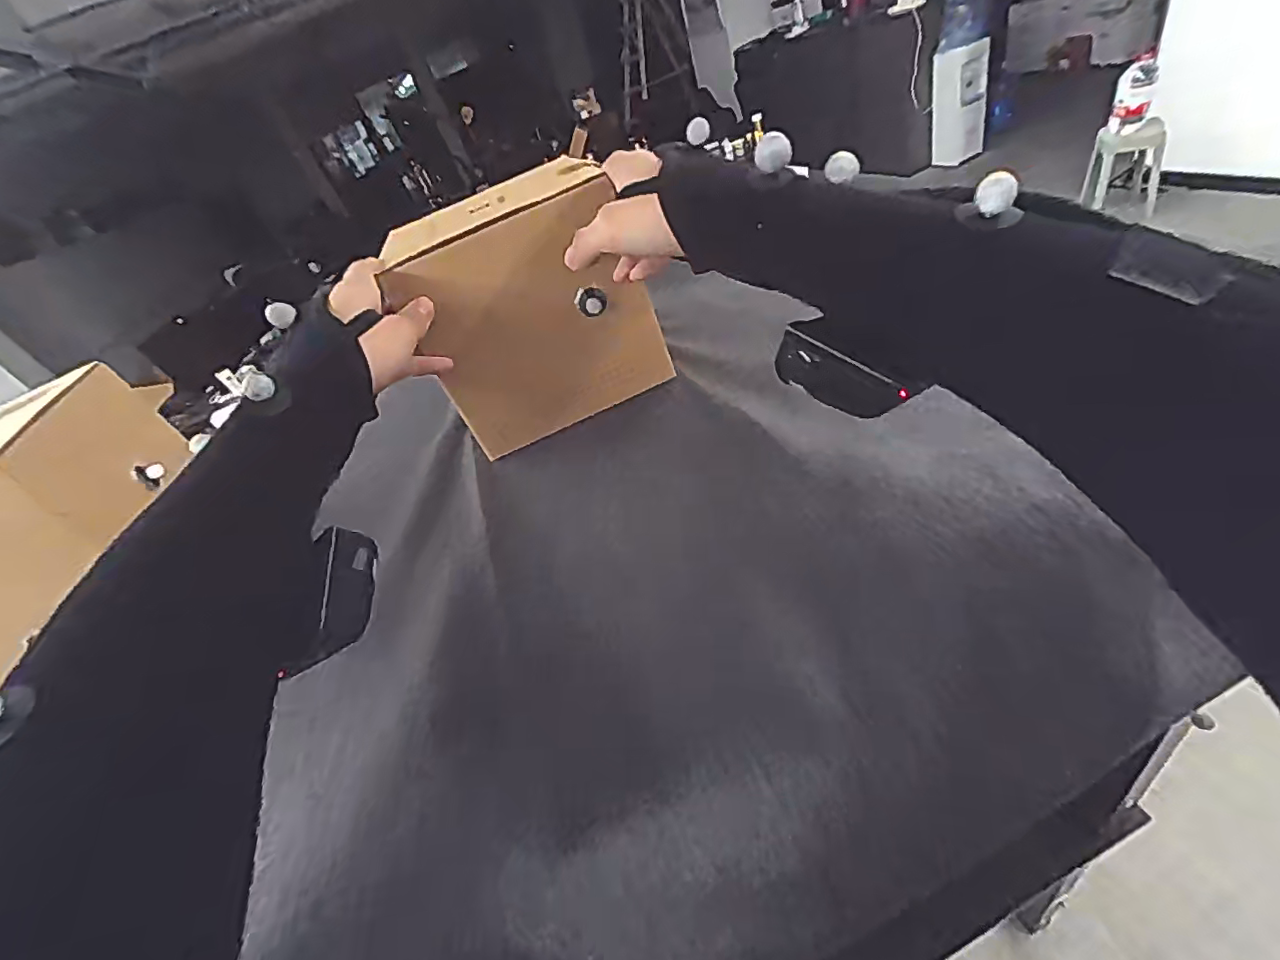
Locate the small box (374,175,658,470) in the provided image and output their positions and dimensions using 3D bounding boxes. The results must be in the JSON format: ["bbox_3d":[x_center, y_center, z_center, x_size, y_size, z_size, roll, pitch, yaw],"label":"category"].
[{"bbox_3d":[-0.096,-0.140,0.473,0.179,0.176,0.168,-25,36,-2],"label":"small box"}]
